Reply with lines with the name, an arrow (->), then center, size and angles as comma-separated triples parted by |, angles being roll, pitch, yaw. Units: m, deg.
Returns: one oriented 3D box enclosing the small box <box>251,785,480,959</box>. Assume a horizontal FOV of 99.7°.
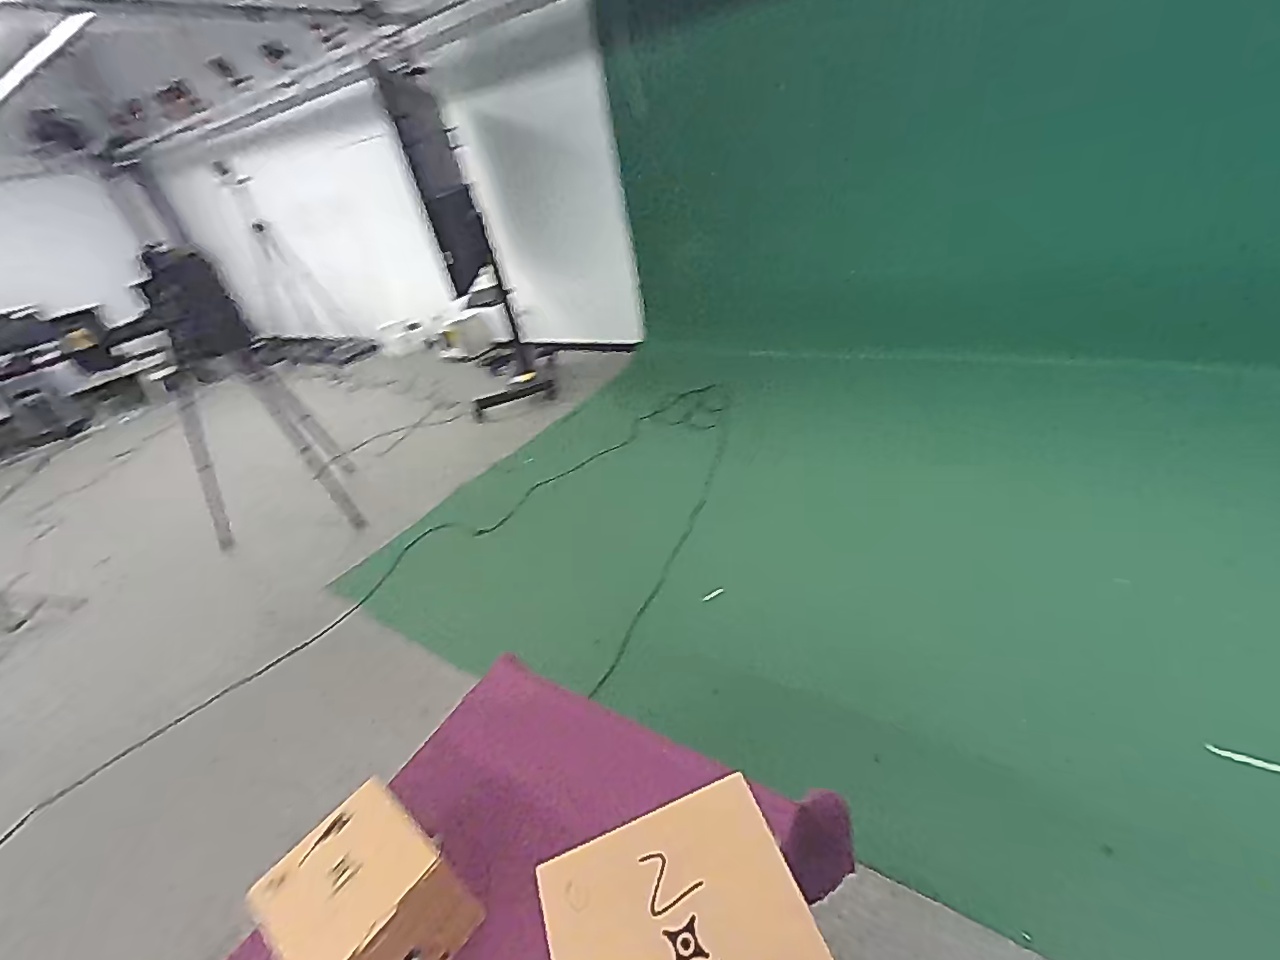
small box -> -0.332, 0.540, 0.679 | 0.179, 0.176, 0.168 | 16, 42, 37
